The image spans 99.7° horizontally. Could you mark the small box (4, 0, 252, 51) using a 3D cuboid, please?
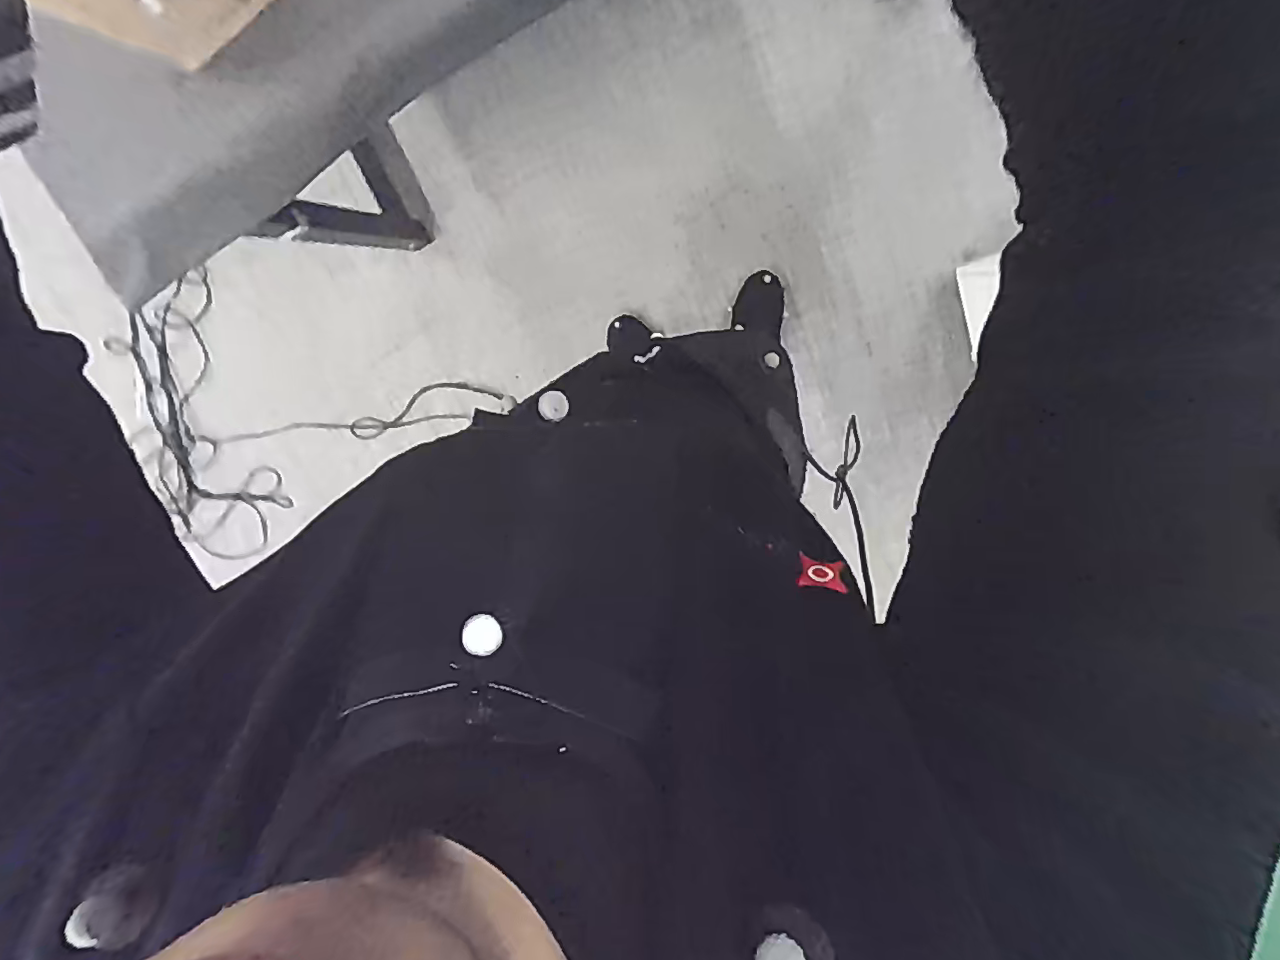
[{"bbox_3d":[-0.431,-0.484,0.421,0.168,0.176,0.179,-25,105,15],"label":"small box"}]
